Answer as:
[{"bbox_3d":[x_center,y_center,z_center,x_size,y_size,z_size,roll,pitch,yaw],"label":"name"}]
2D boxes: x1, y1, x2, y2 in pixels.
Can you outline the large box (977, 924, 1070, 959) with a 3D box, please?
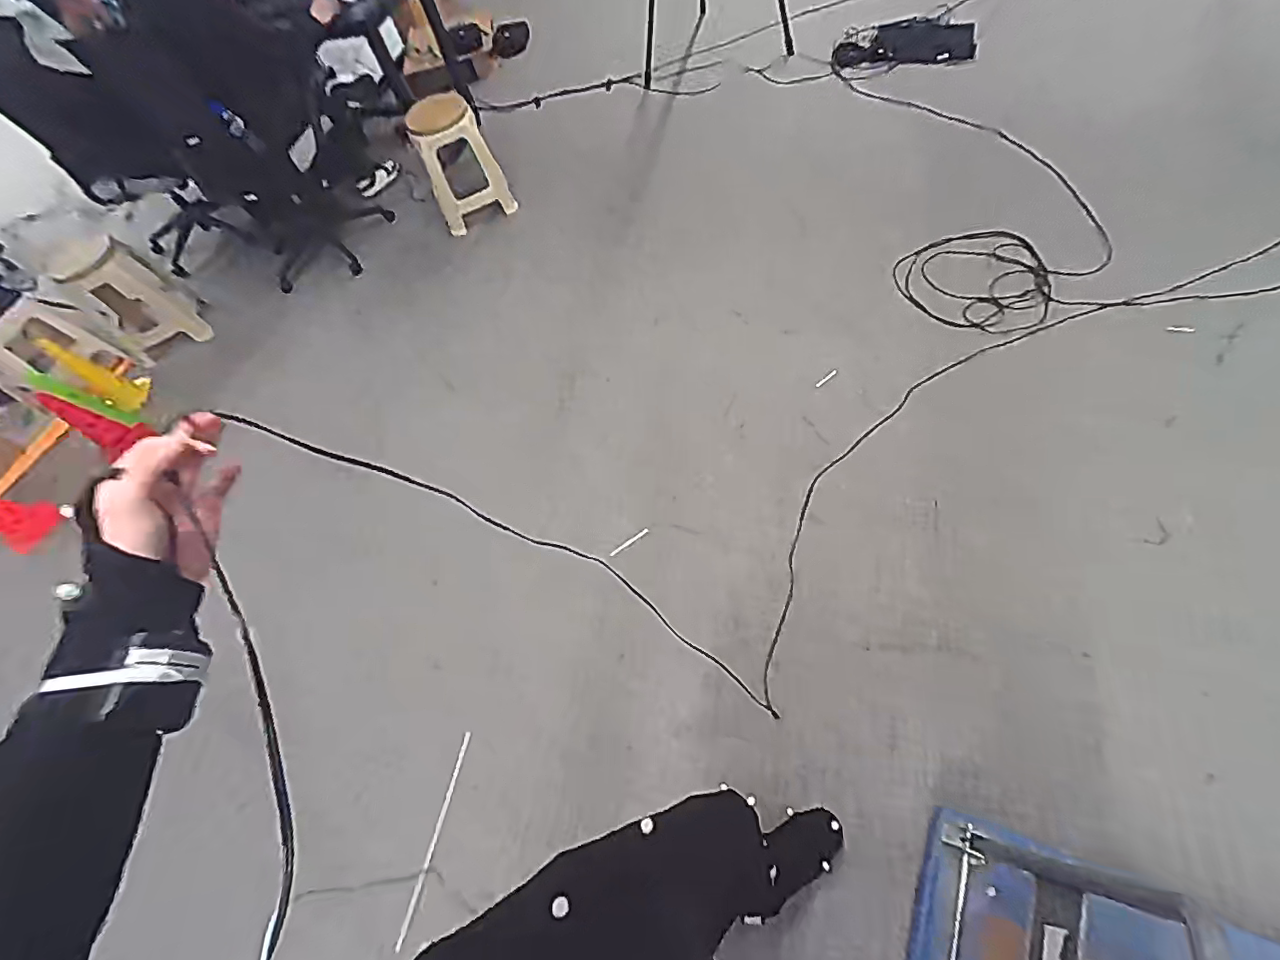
[{"bbox_3d":[0.729,0.910,0.746,0.408,0.320,0.320,15,65,19],"label":"large box"}]
